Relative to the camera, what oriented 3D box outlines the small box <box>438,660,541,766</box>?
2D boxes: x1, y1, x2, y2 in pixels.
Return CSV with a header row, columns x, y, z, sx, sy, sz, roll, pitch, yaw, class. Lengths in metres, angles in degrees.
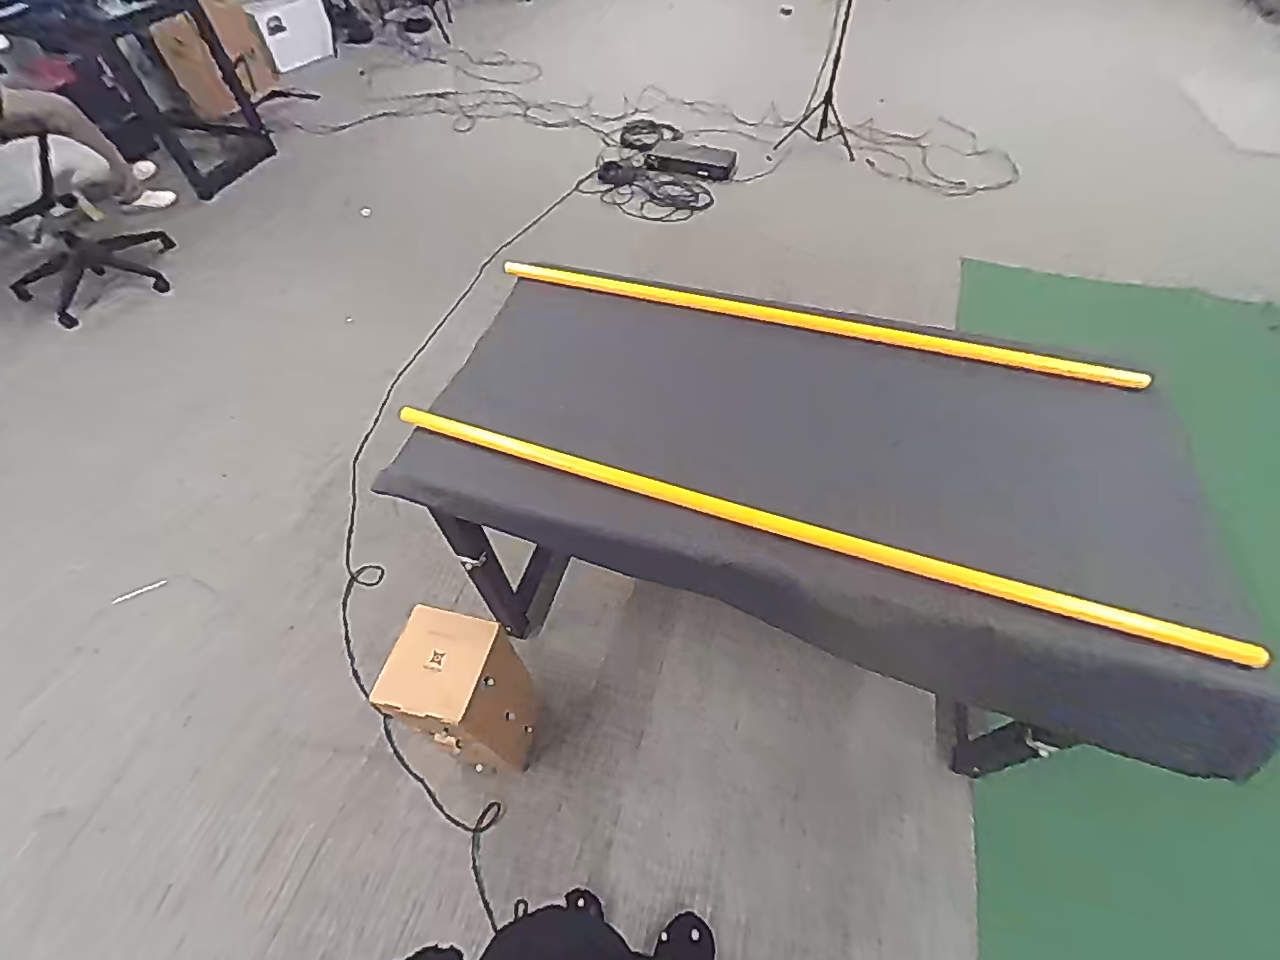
x,y,z,sx,sy,sz,roll,pitch,yaw,class
-0.336,0.541,1.250,0.168,0.176,0.179,7,55,7,small box
